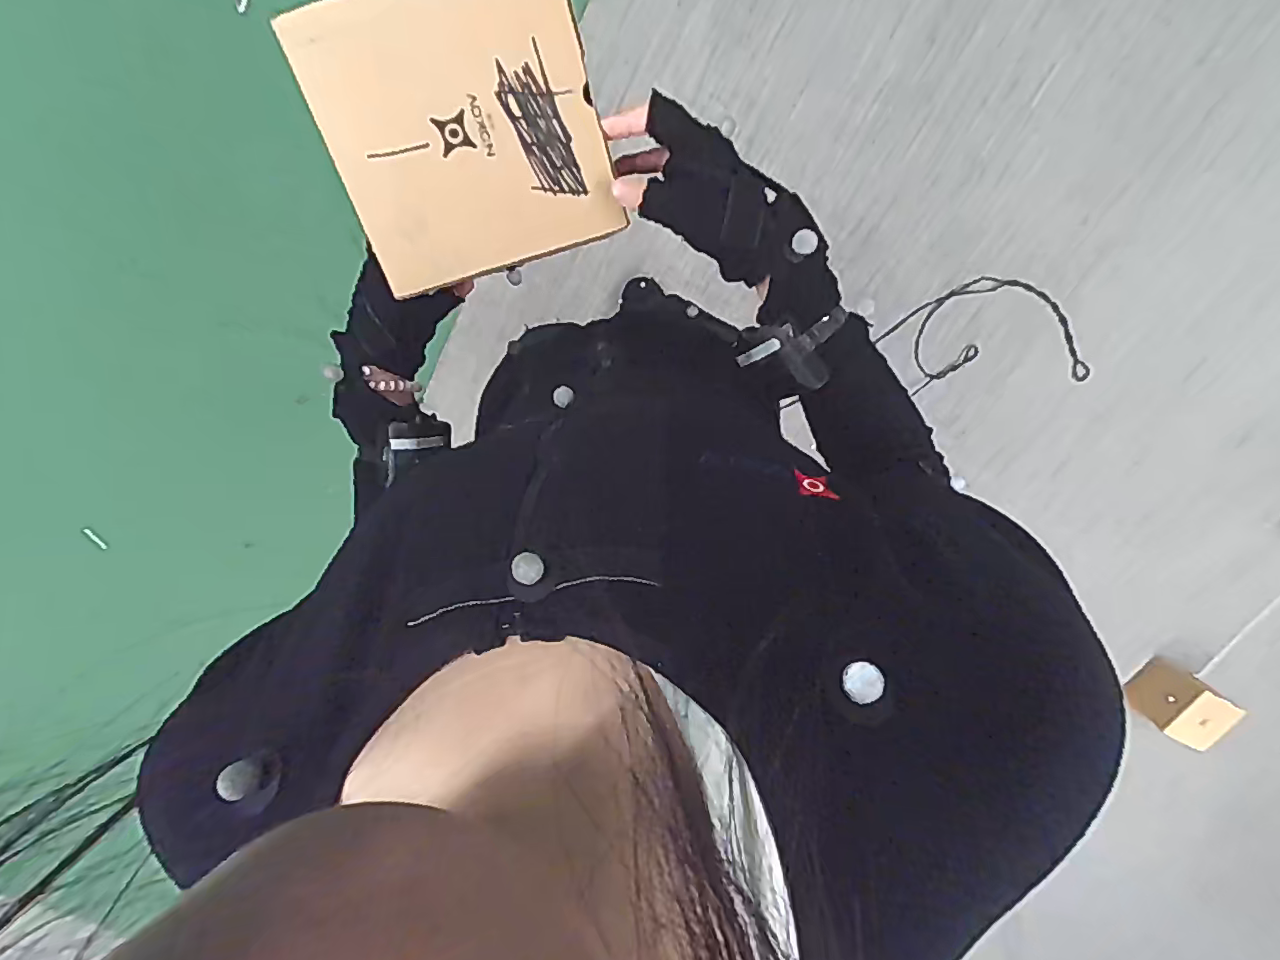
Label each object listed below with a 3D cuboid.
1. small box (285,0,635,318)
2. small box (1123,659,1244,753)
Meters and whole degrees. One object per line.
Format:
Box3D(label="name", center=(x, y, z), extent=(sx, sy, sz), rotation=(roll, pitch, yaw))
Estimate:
Box3D(label="small box", center=(-0.119, -0.240, 0.423), extent=(0.179, 0.176, 0.168), rotation=(-18, 113, -1))
Box3D(label="small box", center=(1.662, 0.694, 1.672), extent=(0.168, 0.176, 0.179), rotation=(26, 107, -8))
